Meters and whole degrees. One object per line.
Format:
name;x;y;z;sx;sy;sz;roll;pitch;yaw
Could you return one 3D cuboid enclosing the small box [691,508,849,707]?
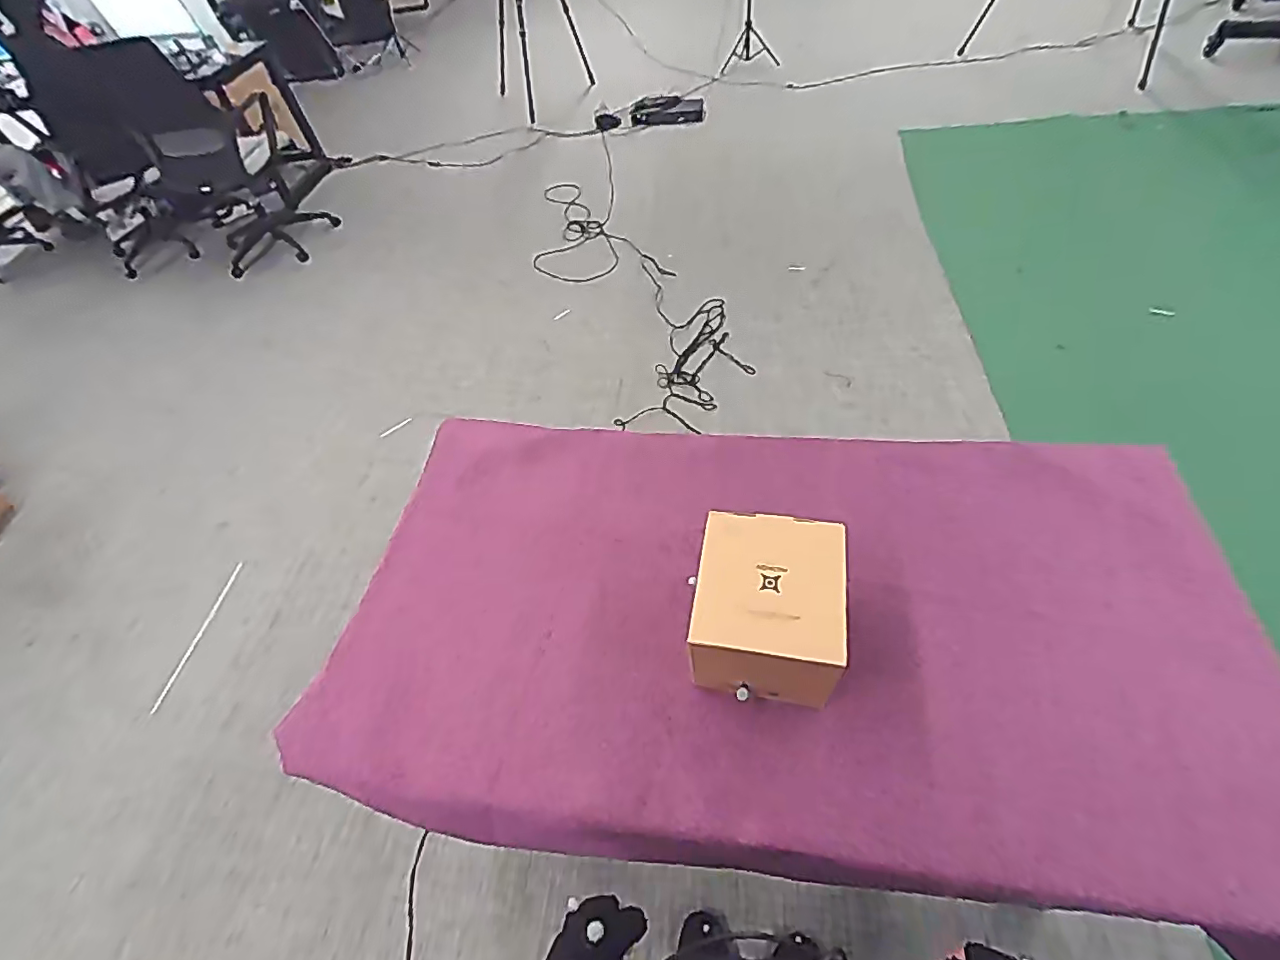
small box;0.160;0.160;0.675;0.168;0.176;0.179;5;55;13
